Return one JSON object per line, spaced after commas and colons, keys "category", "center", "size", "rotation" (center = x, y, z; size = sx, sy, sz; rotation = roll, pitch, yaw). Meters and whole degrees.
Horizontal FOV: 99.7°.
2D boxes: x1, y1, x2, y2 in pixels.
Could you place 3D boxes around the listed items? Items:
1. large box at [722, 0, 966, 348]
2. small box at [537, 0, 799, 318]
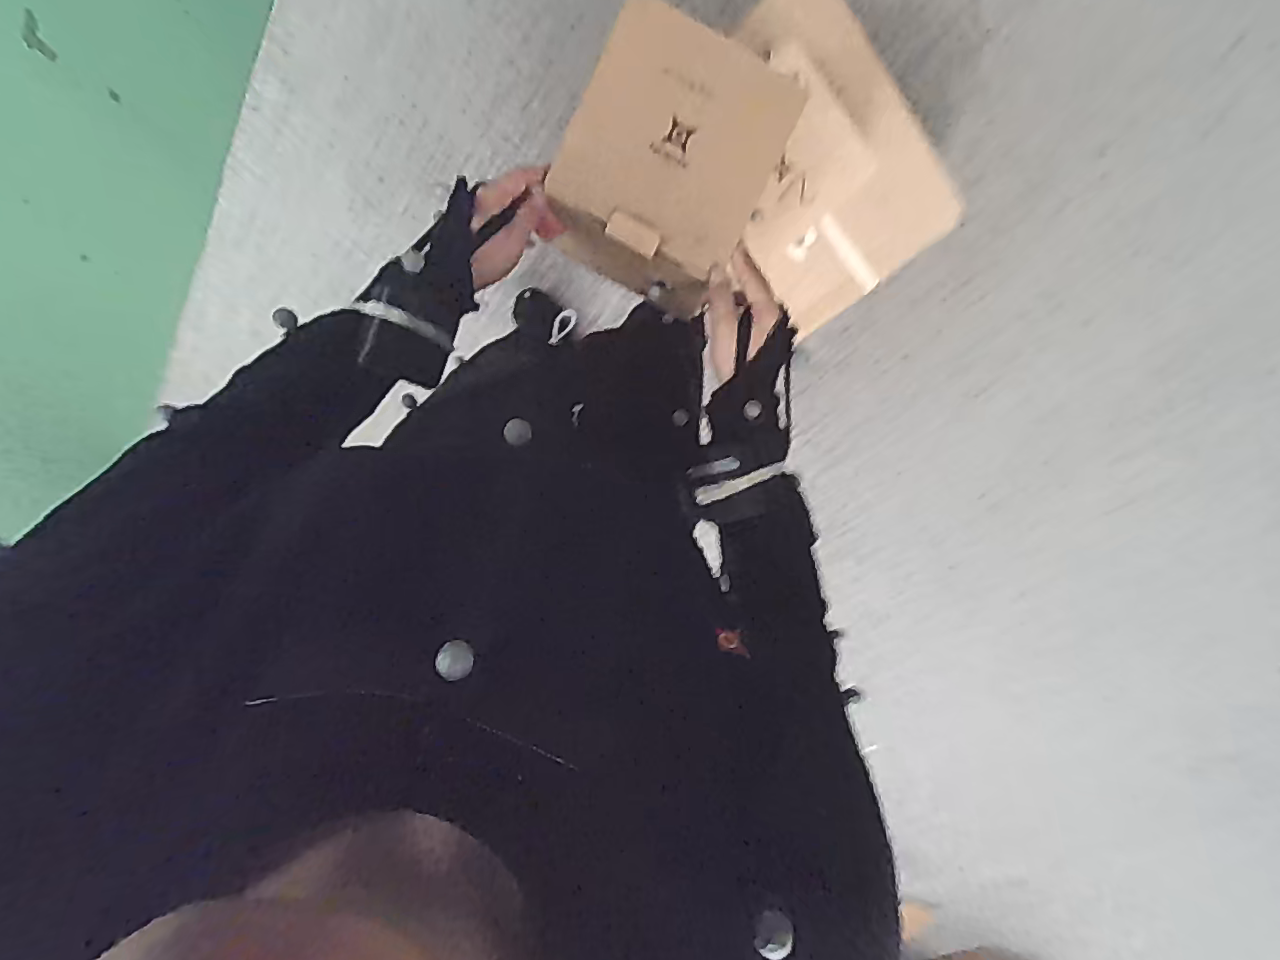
{"category": "large box", "center": [0.260, -0.513, 0.927], "size": [0.320, 0.320, 0.408], "rotation": [-35, 109, 30]}
{"category": "small box", "center": [0.019, -0.279, 0.521], "size": [0.168, 0.176, 0.179], "rotation": [25, 93, -7]}
